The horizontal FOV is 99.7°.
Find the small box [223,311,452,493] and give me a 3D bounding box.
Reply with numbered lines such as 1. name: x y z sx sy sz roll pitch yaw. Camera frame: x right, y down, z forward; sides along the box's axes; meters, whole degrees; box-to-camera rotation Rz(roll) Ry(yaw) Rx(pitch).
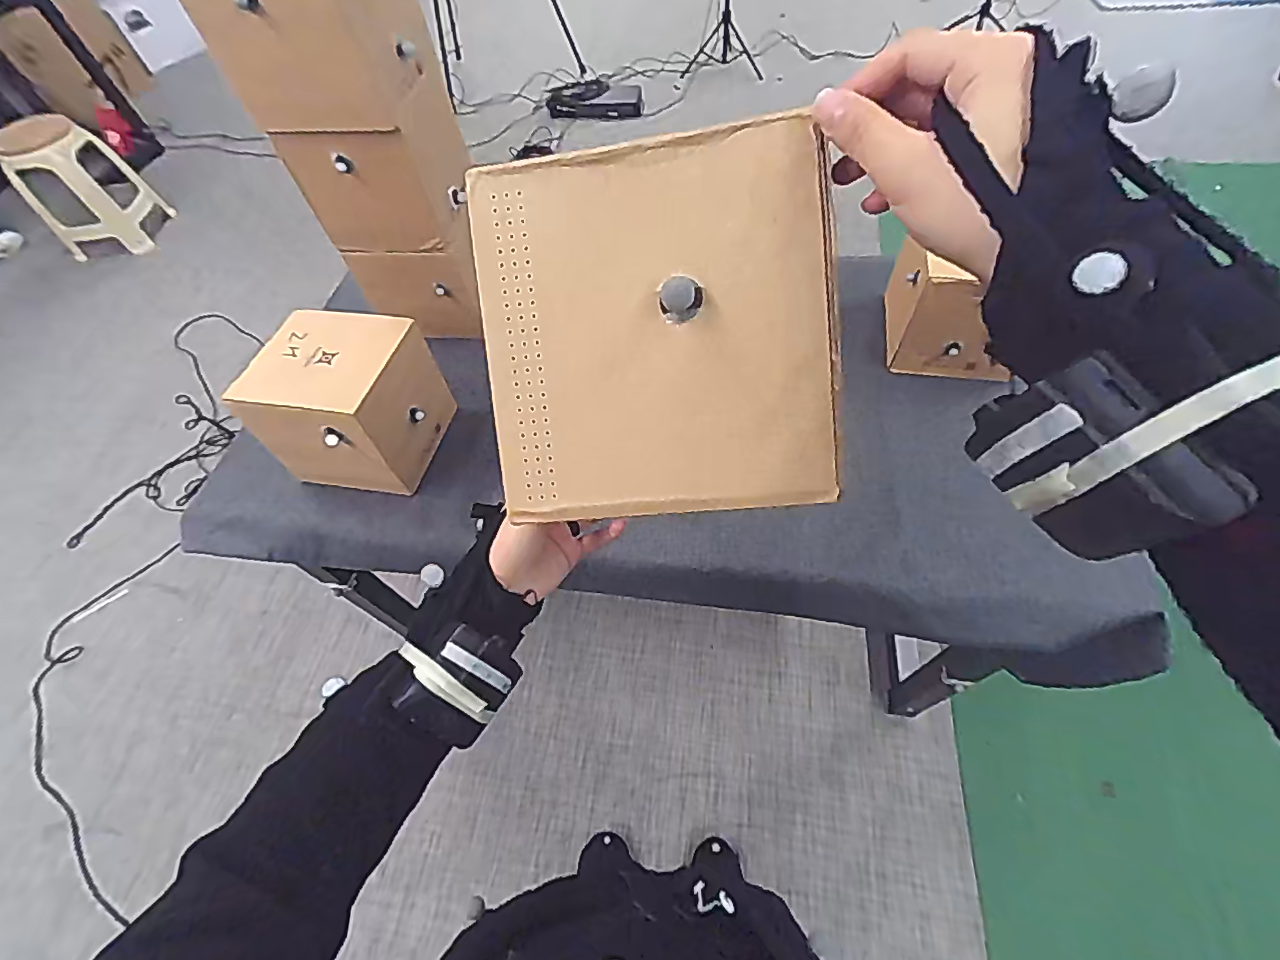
1. small box: -0.379 -0.099 0.720 0.179 0.176 0.168 7 55 9

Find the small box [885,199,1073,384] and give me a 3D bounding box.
1. small box: 0.454 -0.262 0.760 0.168 0.176 0.179 7 60 10

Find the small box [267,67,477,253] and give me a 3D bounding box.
1. small box: -0.349 -0.435 0.745 0.179 0.176 0.168 3 60 5

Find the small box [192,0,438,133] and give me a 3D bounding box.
1. small box: -0.357 -0.513 0.600 0.179 0.176 0.168 4 60 6

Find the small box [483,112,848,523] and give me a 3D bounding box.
1. small box: 0.017 -0.078 0.333 0.176 0.168 0.179 -5 97 10
